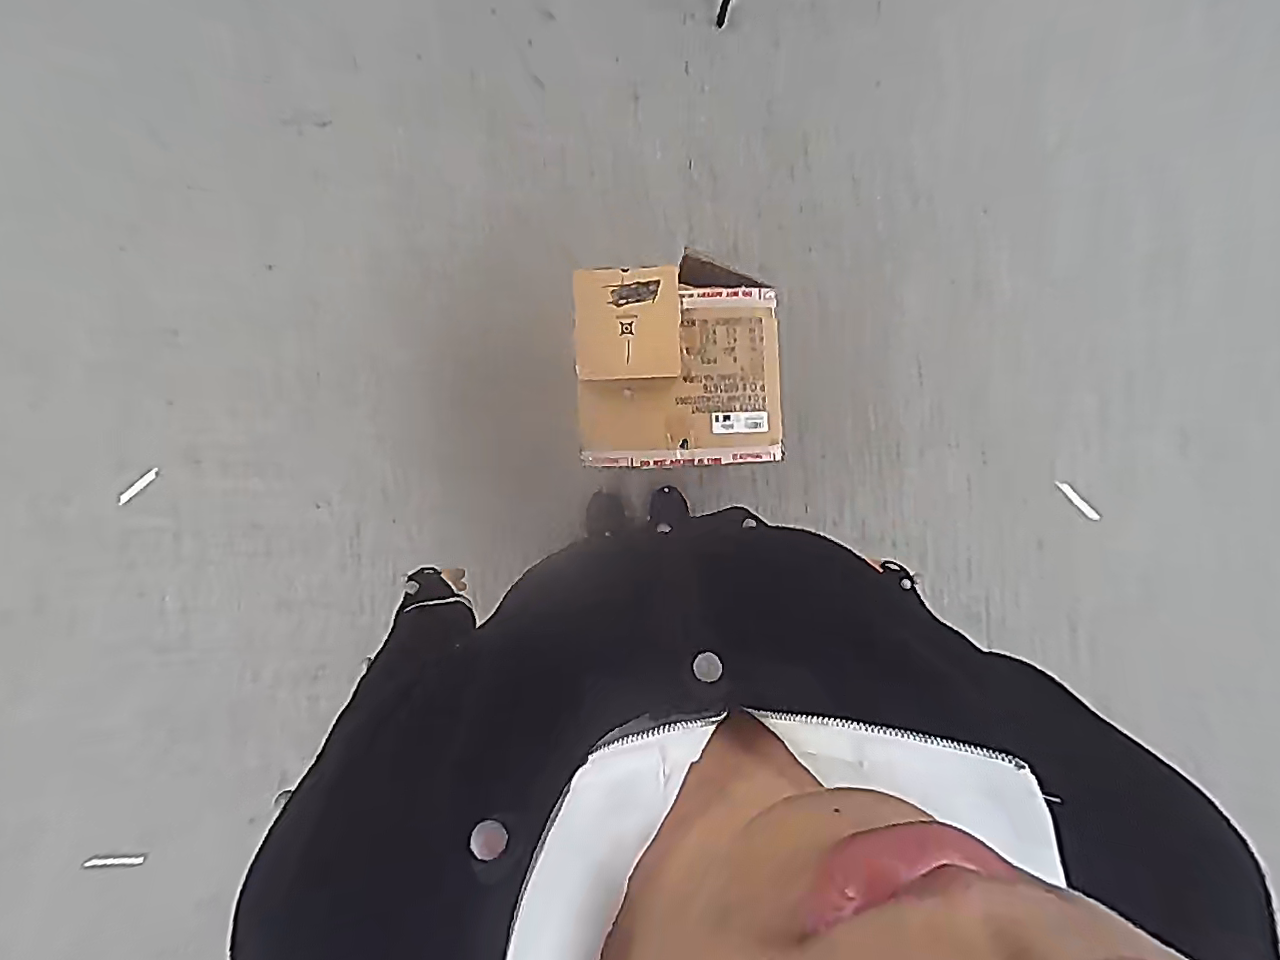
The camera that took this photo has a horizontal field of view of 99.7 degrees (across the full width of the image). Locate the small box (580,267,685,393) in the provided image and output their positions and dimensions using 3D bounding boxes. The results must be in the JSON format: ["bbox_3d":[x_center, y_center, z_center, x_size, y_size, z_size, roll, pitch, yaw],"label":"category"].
[{"bbox_3d":[-0.012,-0.250,0.932,0.168,0.176,0.179,-2,93,1],"label":"small box"}]
